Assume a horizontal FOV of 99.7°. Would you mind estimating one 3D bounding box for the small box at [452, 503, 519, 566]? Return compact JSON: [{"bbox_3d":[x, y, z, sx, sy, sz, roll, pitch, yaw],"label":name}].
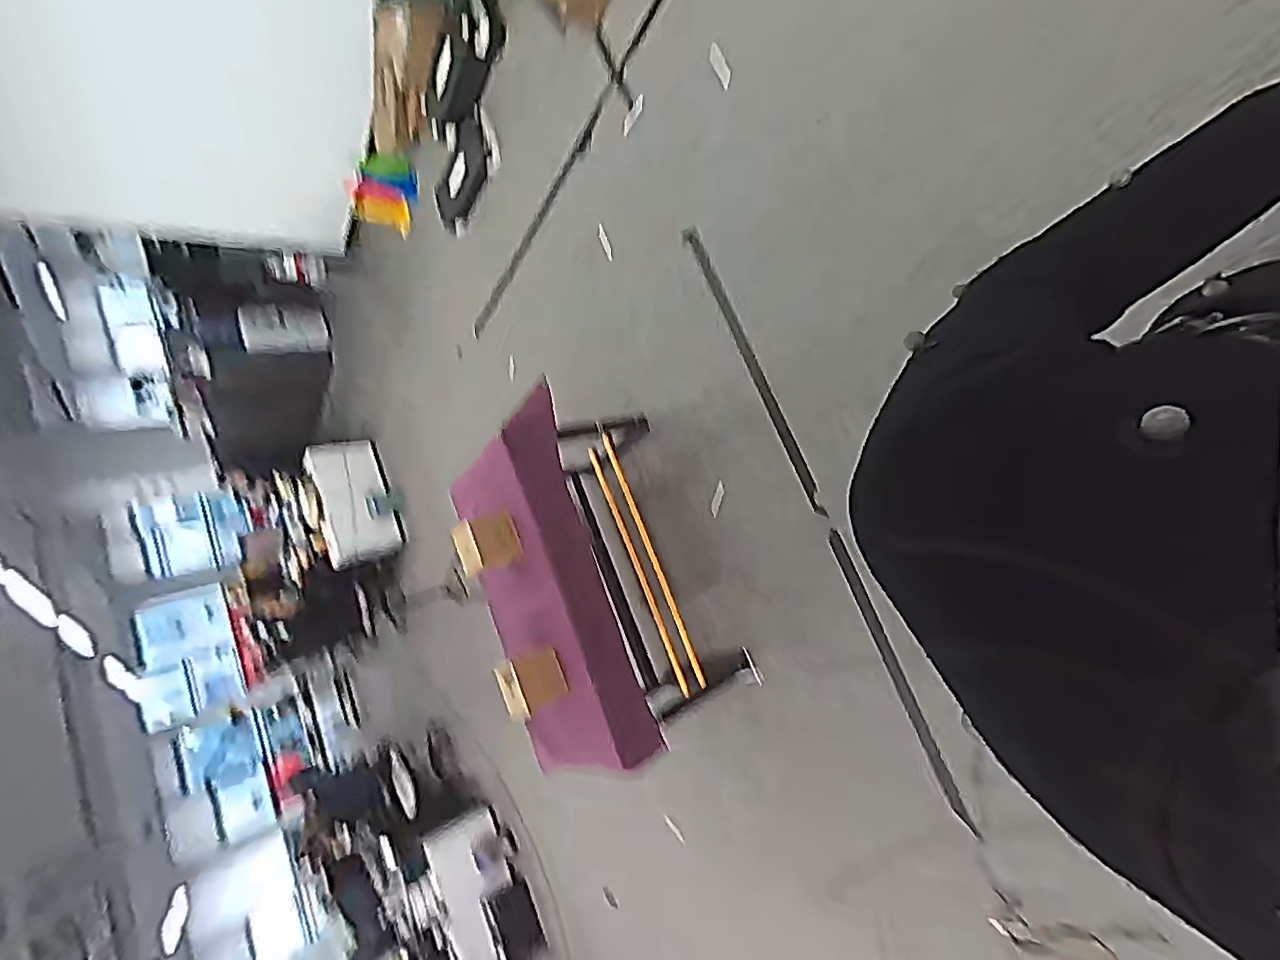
[{"bbox_3d":[-0.566,0.198,1.996,0.179,0.176,0.168,-33,76,48],"label":"small box"}]
